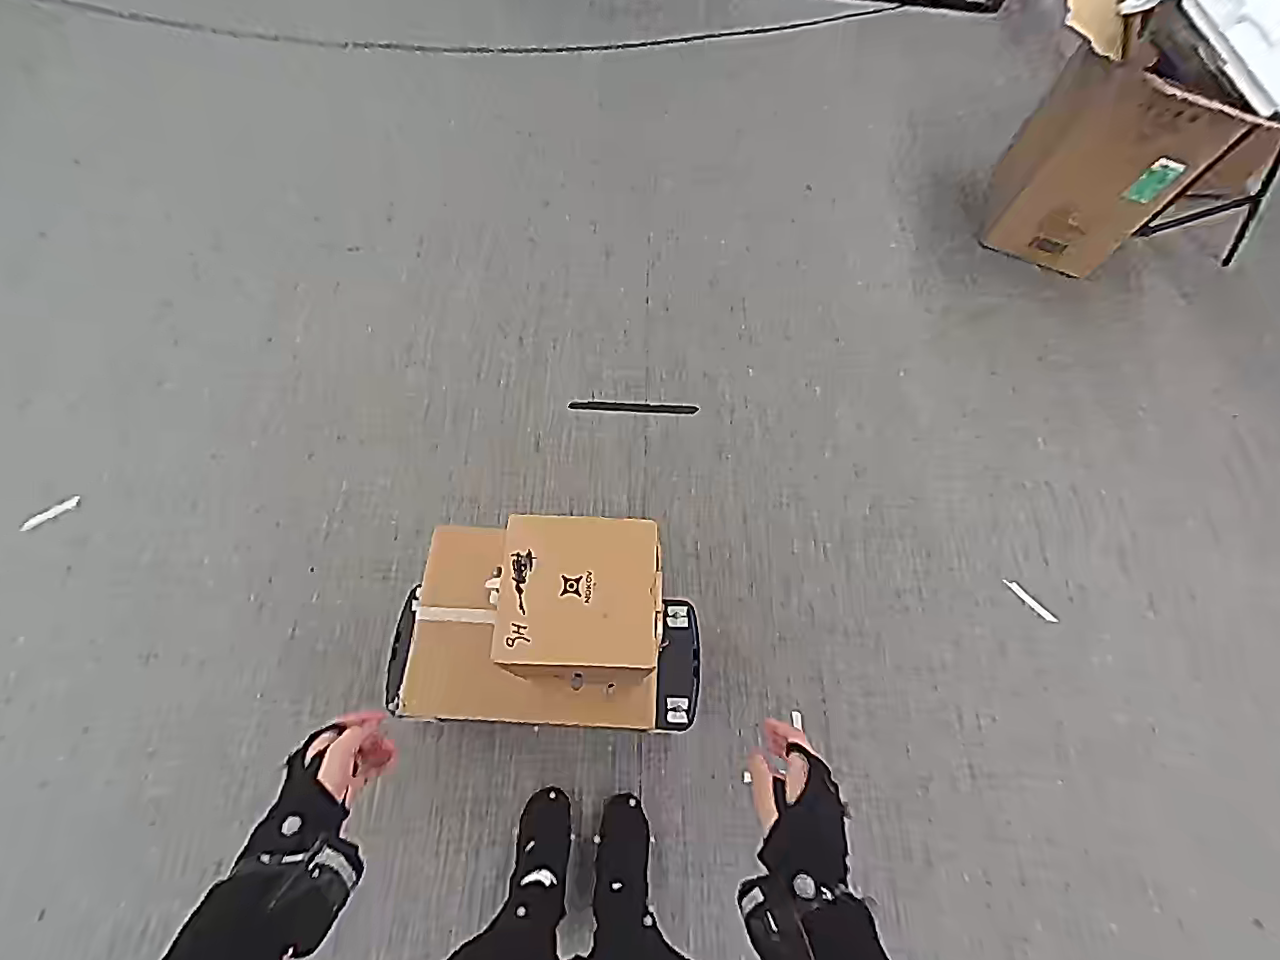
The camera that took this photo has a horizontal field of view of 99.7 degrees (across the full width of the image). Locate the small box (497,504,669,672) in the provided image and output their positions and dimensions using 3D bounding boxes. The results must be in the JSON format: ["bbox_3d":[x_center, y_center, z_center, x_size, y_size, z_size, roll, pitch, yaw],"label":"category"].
[{"bbox_3d":[-0.064,0.140,0.662,0.179,0.176,0.168,4,66,-3],"label":"small box"}]

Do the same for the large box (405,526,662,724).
[{"bbox_3d":[-0.167,0.289,1.035,0.408,0.320,0.320,4,65,-2],"label":"large box"}]

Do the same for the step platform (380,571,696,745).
[{"bbox_3d":[-0.214,0.406,1.241,0.684,0.204,0.286,9,66,0],"label":"step platform"}]

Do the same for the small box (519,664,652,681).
[{"bbox_3d":[-0.072,0.207,0.811,0.179,0.176,0.168,4,66,-2],"label":"small box"}]
